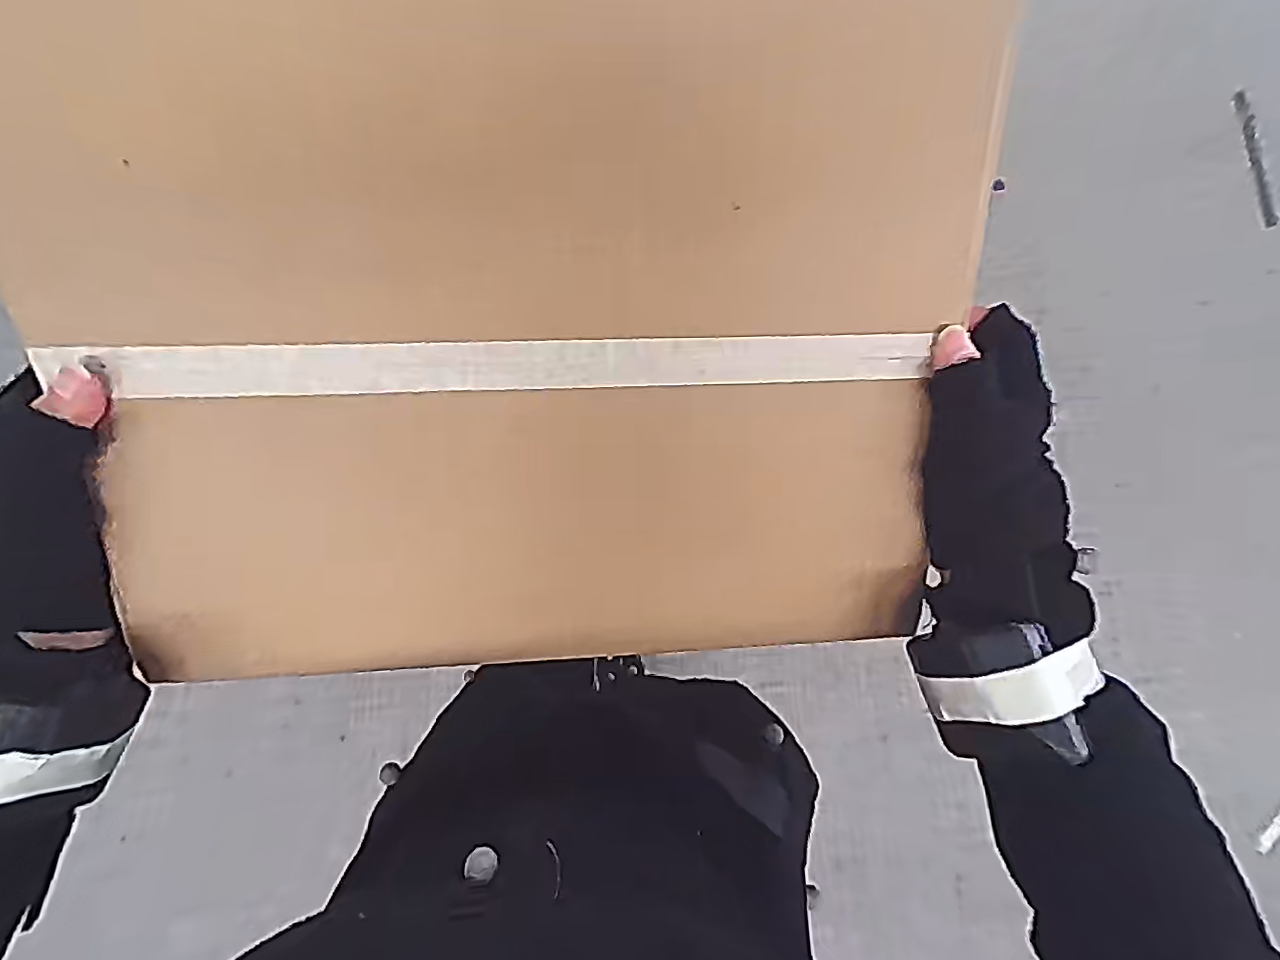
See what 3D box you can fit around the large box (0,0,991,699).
[{"bbox_3d":[-0.061,-0.086,0.394,0.408,0.320,0.320,-2,108,-5],"label":"large box"}]
